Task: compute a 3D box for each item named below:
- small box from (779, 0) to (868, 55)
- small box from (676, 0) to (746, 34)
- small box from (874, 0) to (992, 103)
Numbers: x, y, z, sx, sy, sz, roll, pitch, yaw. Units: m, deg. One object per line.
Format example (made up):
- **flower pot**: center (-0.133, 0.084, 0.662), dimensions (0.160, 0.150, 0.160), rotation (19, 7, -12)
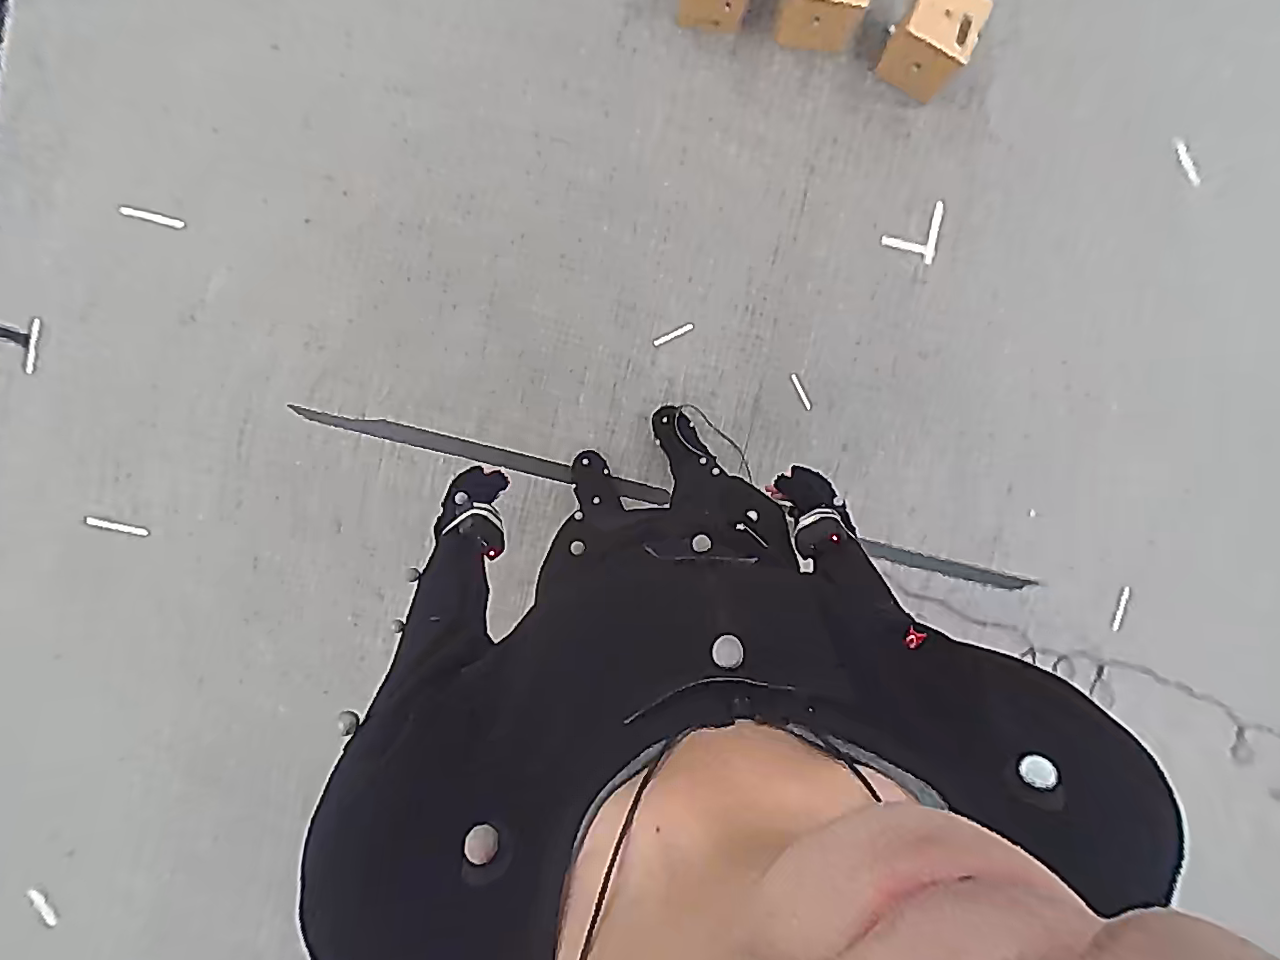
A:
- **small box**: center (0.467, -1.231, 1.378), dimensions (0.179, 0.176, 0.168), rotation (6, 95, -4)
- **small box**: center (0.187, -1.272, 1.354), dimensions (0.168, 0.176, 0.179), rotation (3, 93, -6)
- **small box**: center (0.753, -1.134, 1.409), dimensions (0.179, 0.176, 0.168), rotation (24, 92, -5)
